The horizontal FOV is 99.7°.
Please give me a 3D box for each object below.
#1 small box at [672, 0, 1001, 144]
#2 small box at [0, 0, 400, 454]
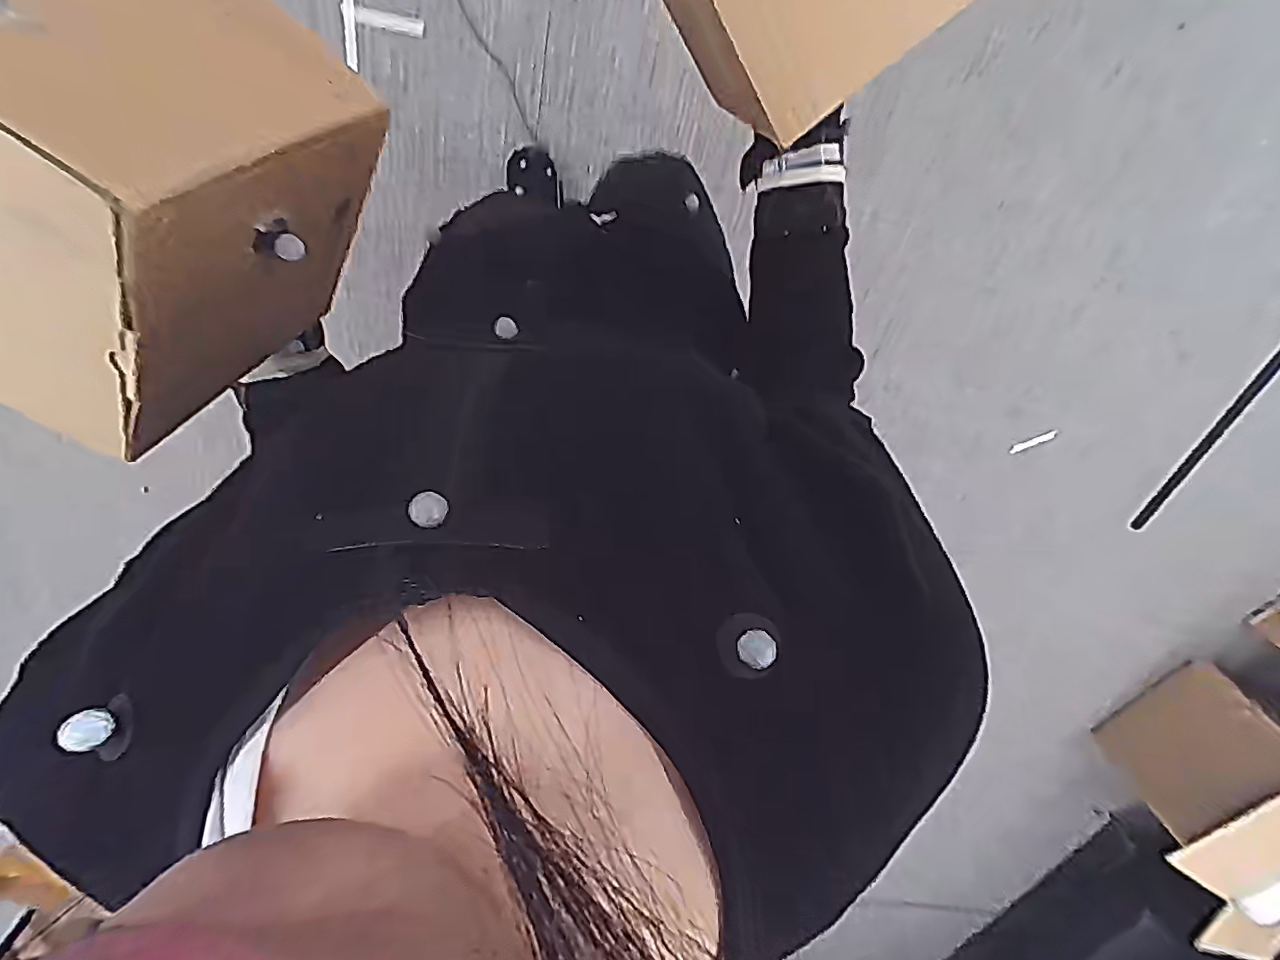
[{"bbox_3d":[0.083,-0.296,0.243,0.168,0.176,0.179,-31,127,20],"label":"small box"},{"bbox_3d":[-0.250,-0.152,0.256,0.179,0.176,0.168,36,131,-18],"label":"small box"}]
